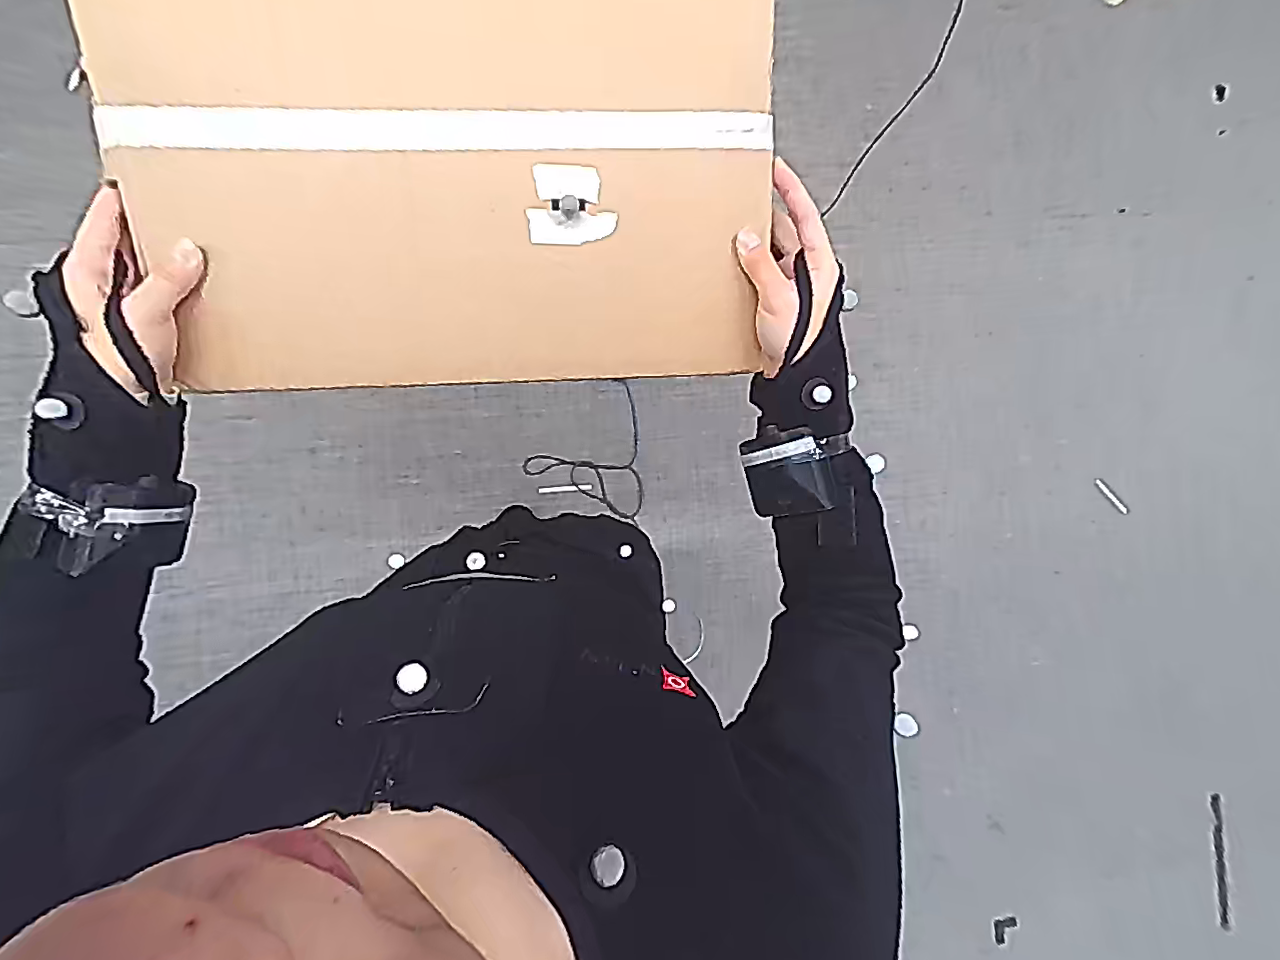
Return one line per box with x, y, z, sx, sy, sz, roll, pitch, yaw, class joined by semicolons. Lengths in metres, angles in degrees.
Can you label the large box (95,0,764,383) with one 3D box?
-0.134;-0.267;0.489;0.408;0.320;0.320;-4;106;-7;large box
